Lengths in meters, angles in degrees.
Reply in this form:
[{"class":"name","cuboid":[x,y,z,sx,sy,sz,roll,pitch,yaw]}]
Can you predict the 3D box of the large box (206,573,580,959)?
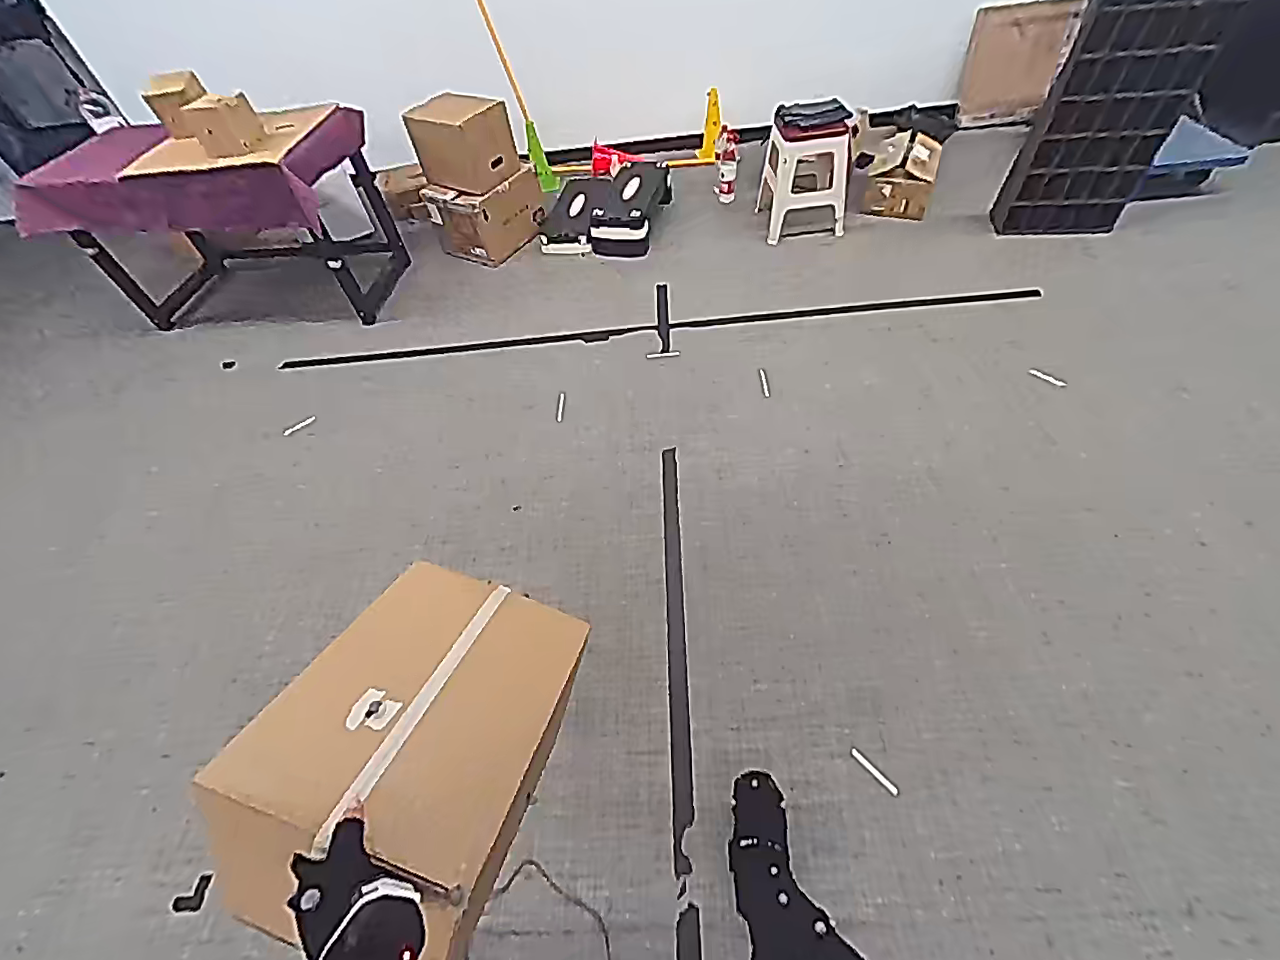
[{"class":"large box","cuboid":[-0.318,0.417,0.805,0.320,0.320,0.408,19,29,4]}]
